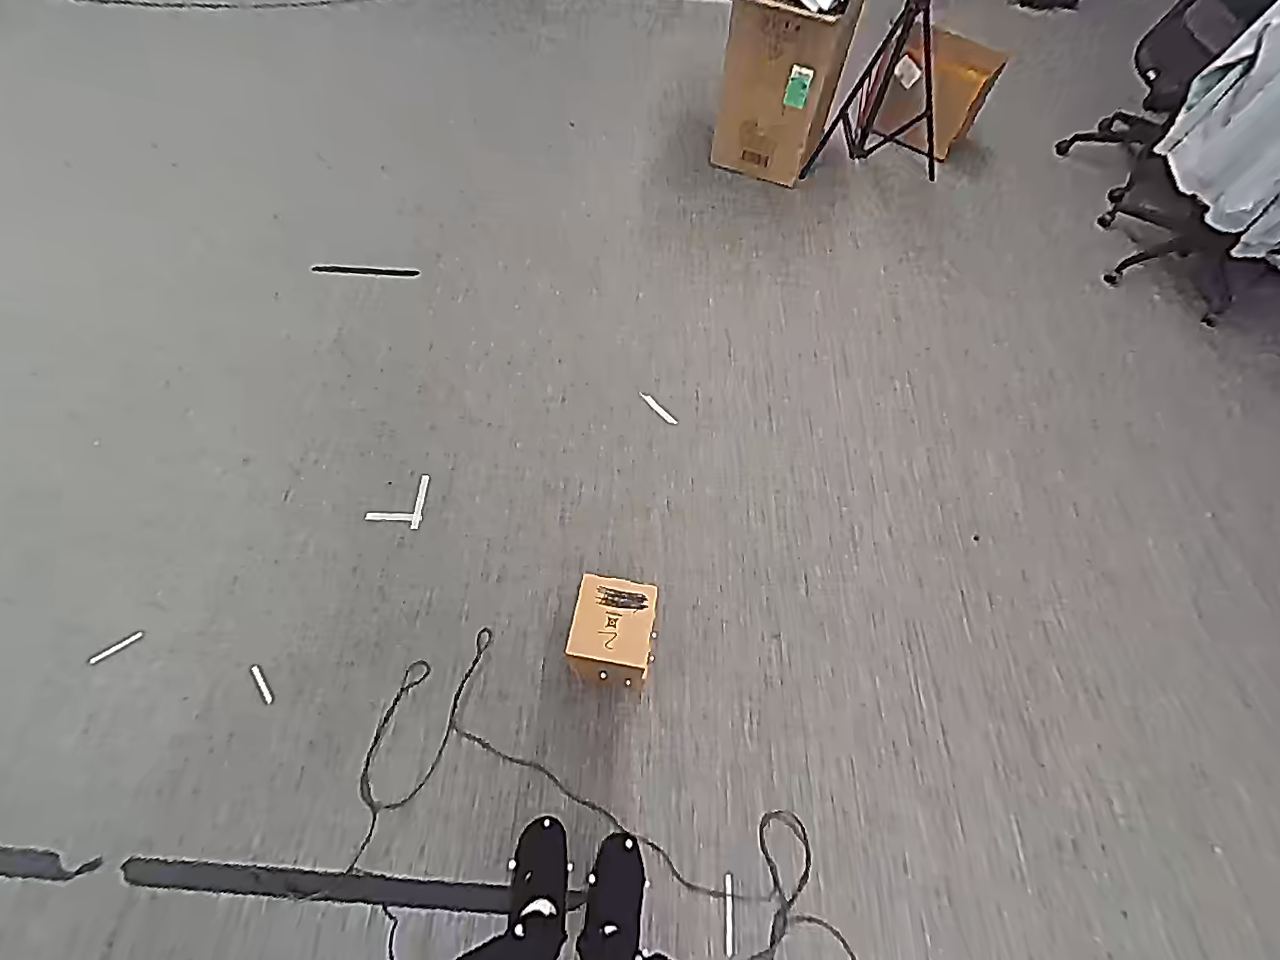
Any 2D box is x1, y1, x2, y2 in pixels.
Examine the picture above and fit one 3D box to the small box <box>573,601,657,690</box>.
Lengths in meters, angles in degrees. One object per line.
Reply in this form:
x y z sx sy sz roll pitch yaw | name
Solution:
-0.058 0.413 1.334 0.179 0.176 0.168 9 61 3 | small box
